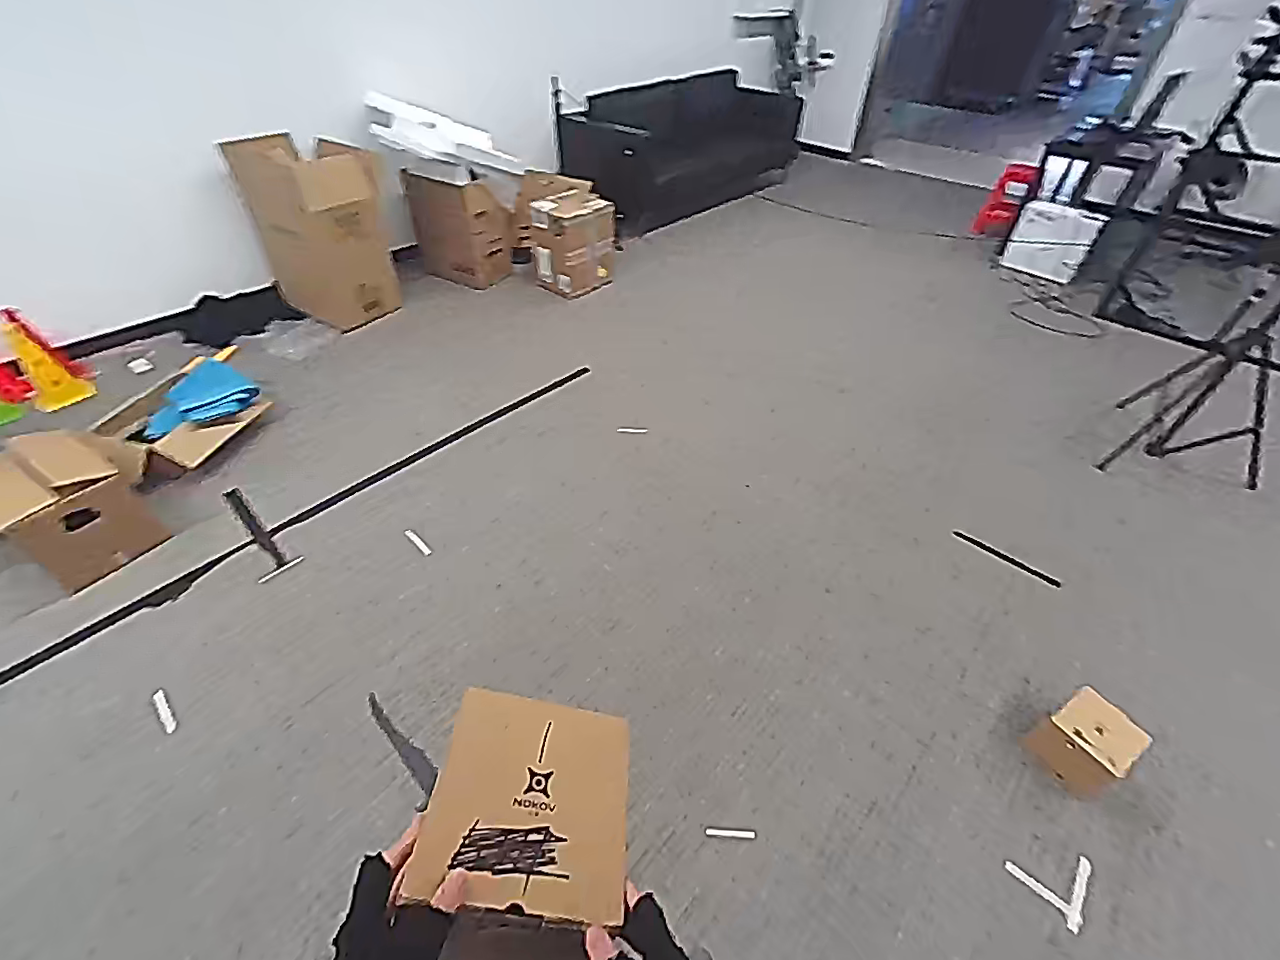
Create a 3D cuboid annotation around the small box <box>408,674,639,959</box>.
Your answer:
[{"bbox_3d":[-0.105,0.320,0.507,0.168,0.176,0.179,16,31,-8],"label":"small box"}]

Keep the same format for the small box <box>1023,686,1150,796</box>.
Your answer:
[{"bbox_3d":[1.155,0.682,1.413,0.179,0.176,0.168,-22,48,-24],"label":"small box"}]
